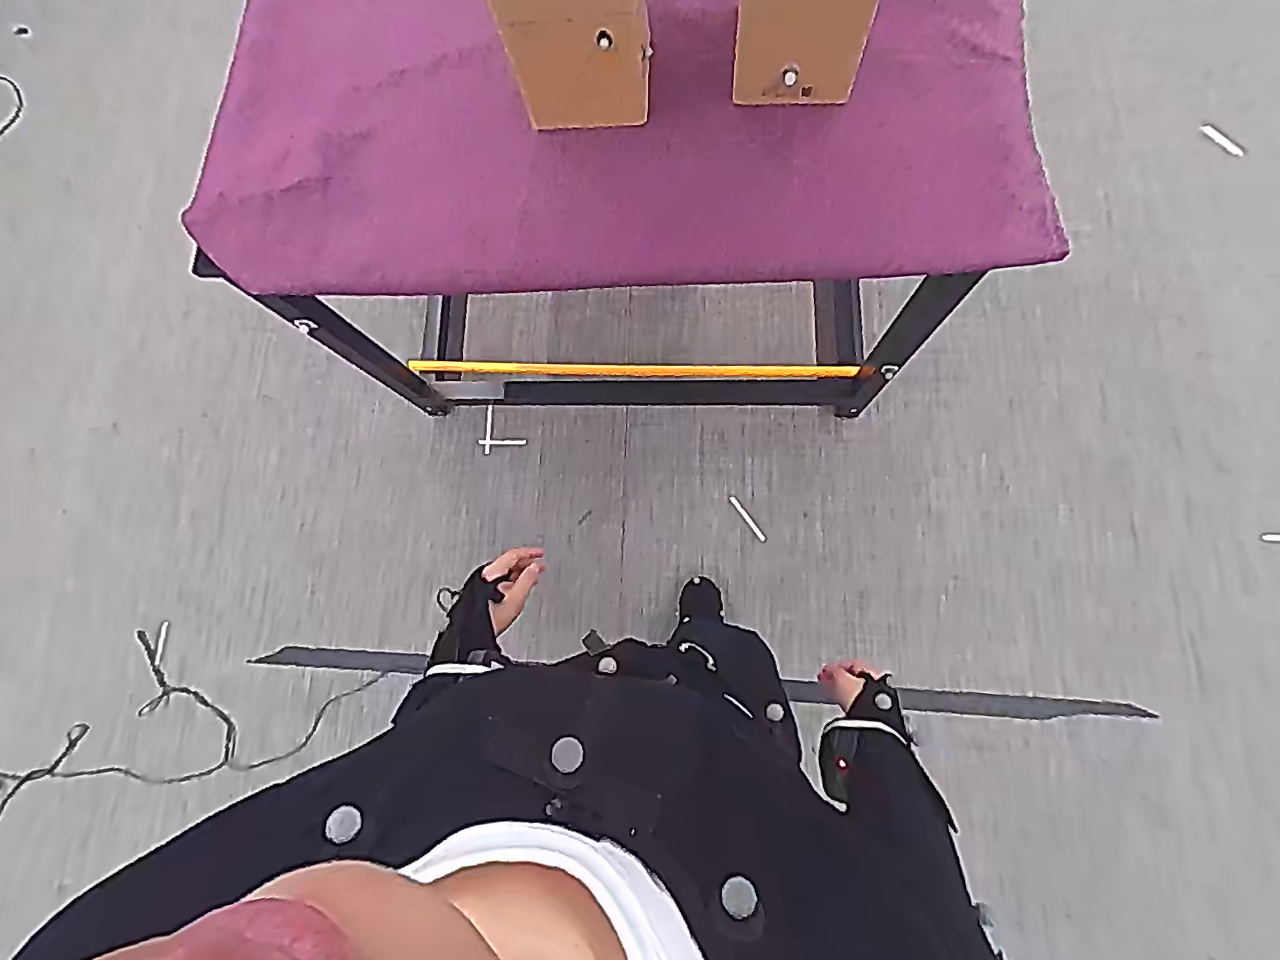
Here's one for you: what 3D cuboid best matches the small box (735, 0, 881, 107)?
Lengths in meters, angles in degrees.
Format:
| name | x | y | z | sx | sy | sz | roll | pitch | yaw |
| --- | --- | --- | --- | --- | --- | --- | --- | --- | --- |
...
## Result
| name | x | y | z | sx | sy | sz | roll | pitch | yaw |
| --- | --- | --- | --- | --- | --- | --- | --- | --- | --- |
| small box | 0.219 | -0.648 | 0.726 | 0.168 | 0.176 | 0.179 | 4 | 79 | 6 |

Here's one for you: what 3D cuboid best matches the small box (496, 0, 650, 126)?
| name | x | y | z | sx | sy | sz | roll | pitch | yaw |
| --- | --- | --- | --- | --- | --- | --- | --- | --- | --- |
| small box | -0.082 | -0.627 | 0.752 | 0.179 | 0.176 | 0.168 | 1 | 78 | 5 |
